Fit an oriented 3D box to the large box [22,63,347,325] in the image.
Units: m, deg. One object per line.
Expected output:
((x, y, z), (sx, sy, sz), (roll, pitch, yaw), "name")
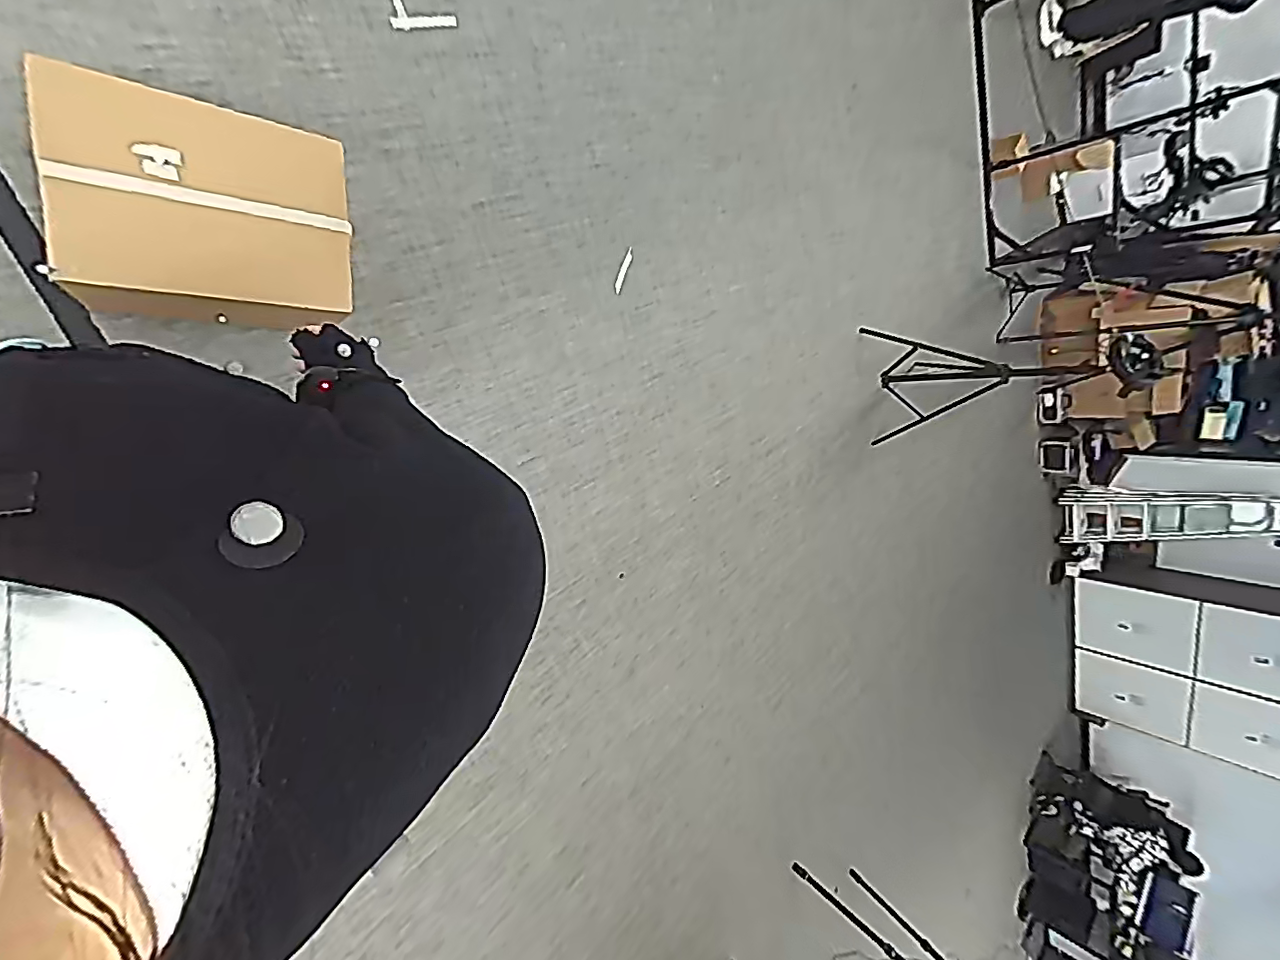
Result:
((-0.816, -0.481, 1.027), (0.408, 0.320, 0.320), (-5, 98, -37), "large box")
